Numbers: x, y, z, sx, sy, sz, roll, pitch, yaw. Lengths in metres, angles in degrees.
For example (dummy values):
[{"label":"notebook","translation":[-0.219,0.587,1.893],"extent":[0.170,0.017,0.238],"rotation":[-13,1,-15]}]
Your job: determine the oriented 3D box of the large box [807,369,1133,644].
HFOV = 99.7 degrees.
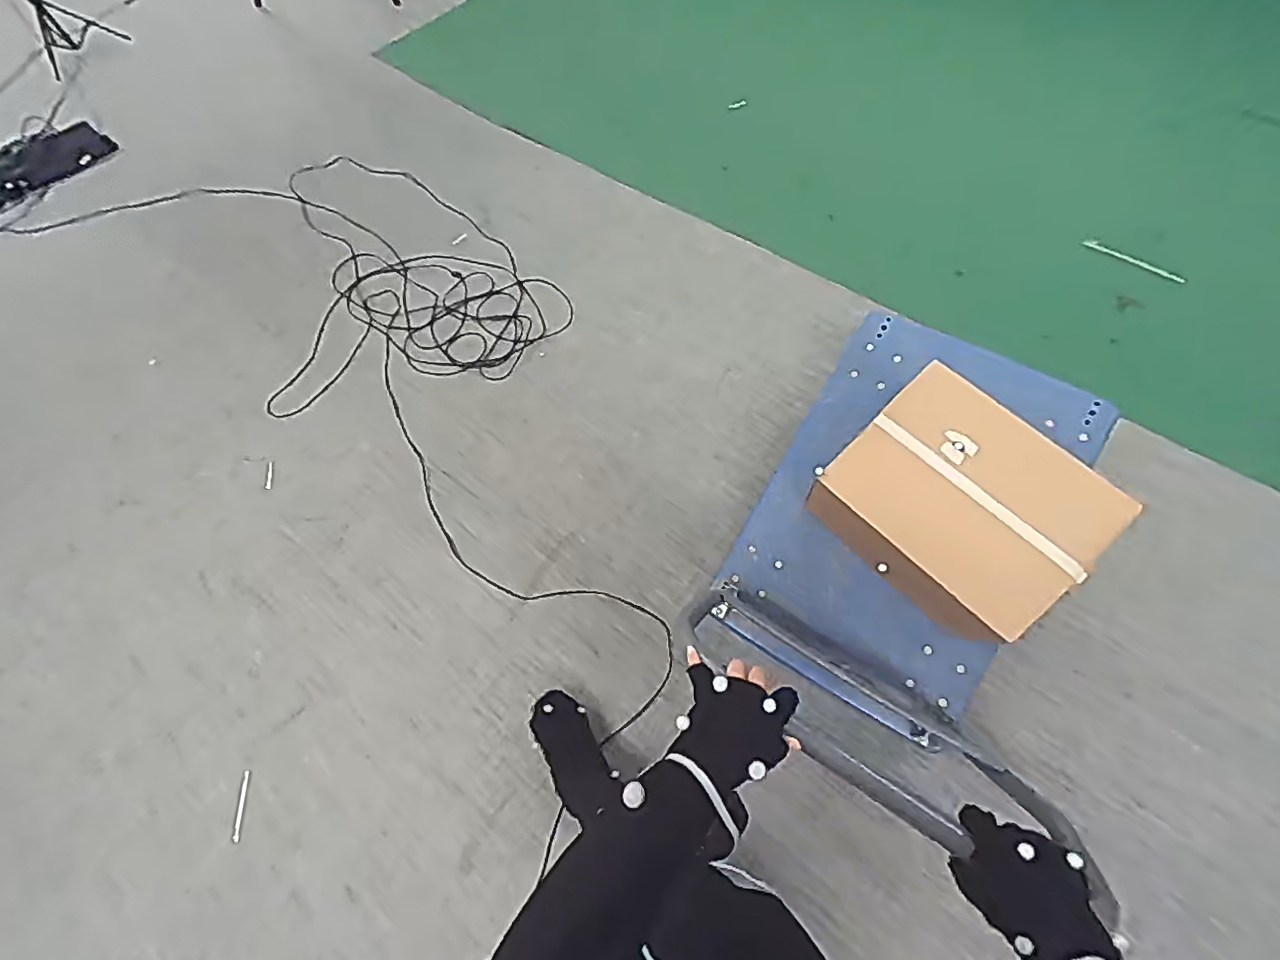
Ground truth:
[{"label":"large box","translation":[0.594,0.063,1.073],"extent":[0.320,0.320,0.408],"rotation":[-45,71,0]}]
